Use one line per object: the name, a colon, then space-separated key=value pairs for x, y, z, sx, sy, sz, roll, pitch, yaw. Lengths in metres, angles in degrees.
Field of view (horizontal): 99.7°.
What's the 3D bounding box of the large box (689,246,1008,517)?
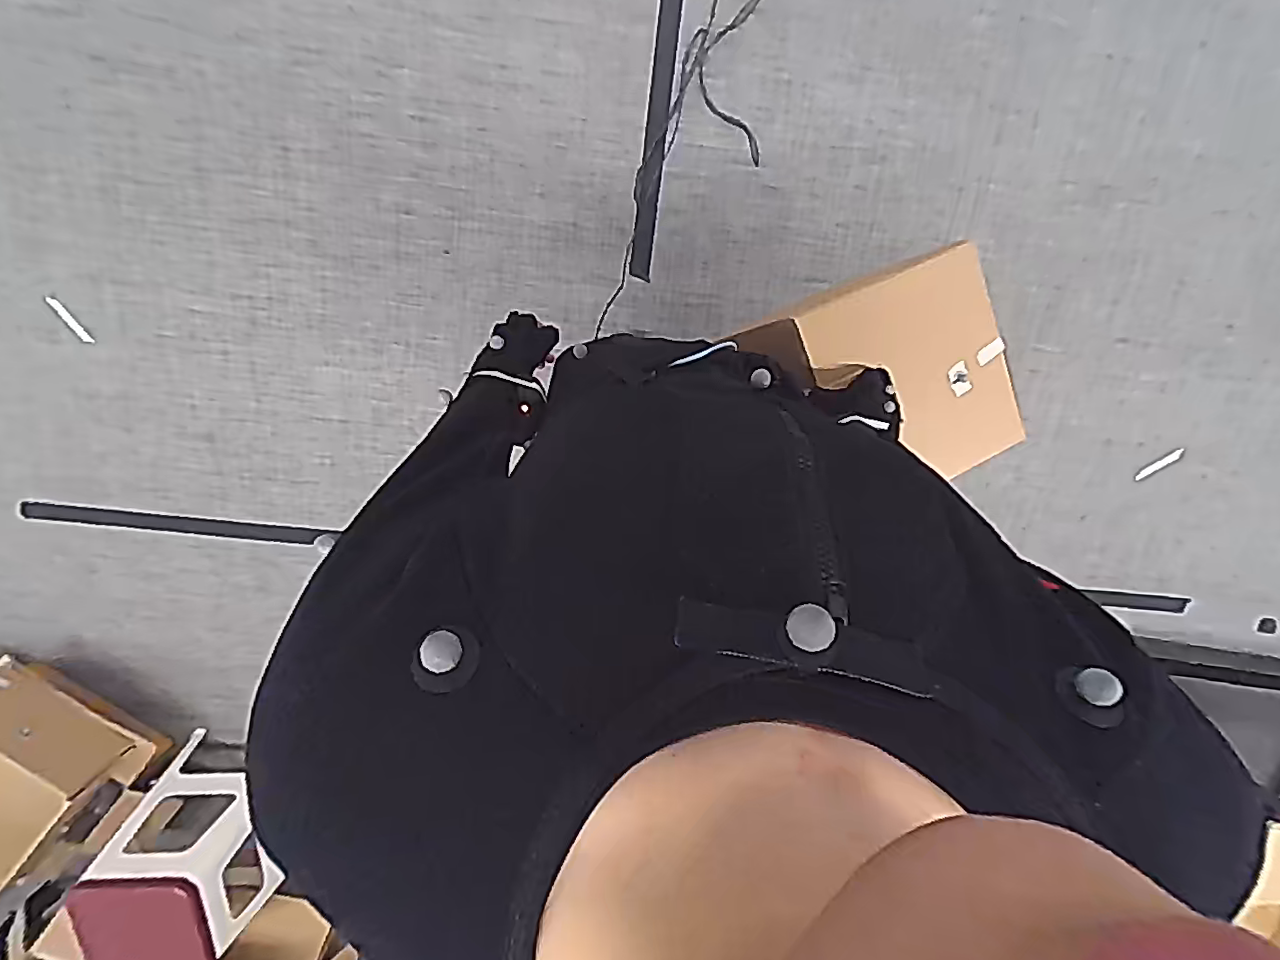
large box: x=0.339 y=-0.165 z=0.969 sx=0.320 sy=0.408 sz=0.320 roll=-24 pitch=103 yaw=-10
